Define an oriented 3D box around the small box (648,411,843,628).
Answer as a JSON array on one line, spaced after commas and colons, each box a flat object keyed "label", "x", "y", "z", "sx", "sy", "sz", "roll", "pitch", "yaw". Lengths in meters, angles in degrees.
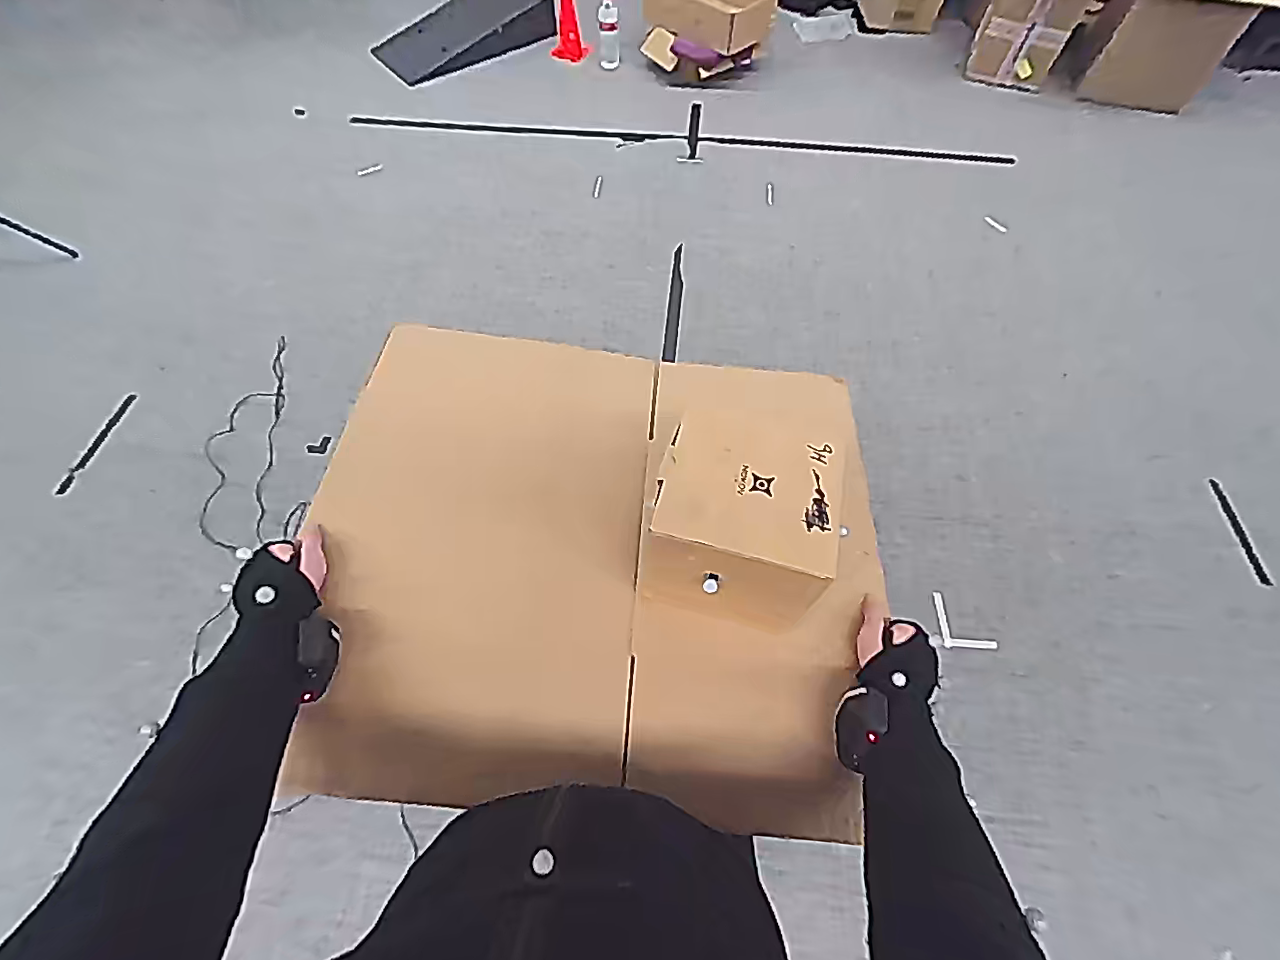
[{"label": "small box", "x": 0.111, "y": 0.050, "z": 0.610, "sx": 0.179, "sy": 0.176, "sz": 0.168, "roll": 13, "pitch": 58, "yaw": 7}]
